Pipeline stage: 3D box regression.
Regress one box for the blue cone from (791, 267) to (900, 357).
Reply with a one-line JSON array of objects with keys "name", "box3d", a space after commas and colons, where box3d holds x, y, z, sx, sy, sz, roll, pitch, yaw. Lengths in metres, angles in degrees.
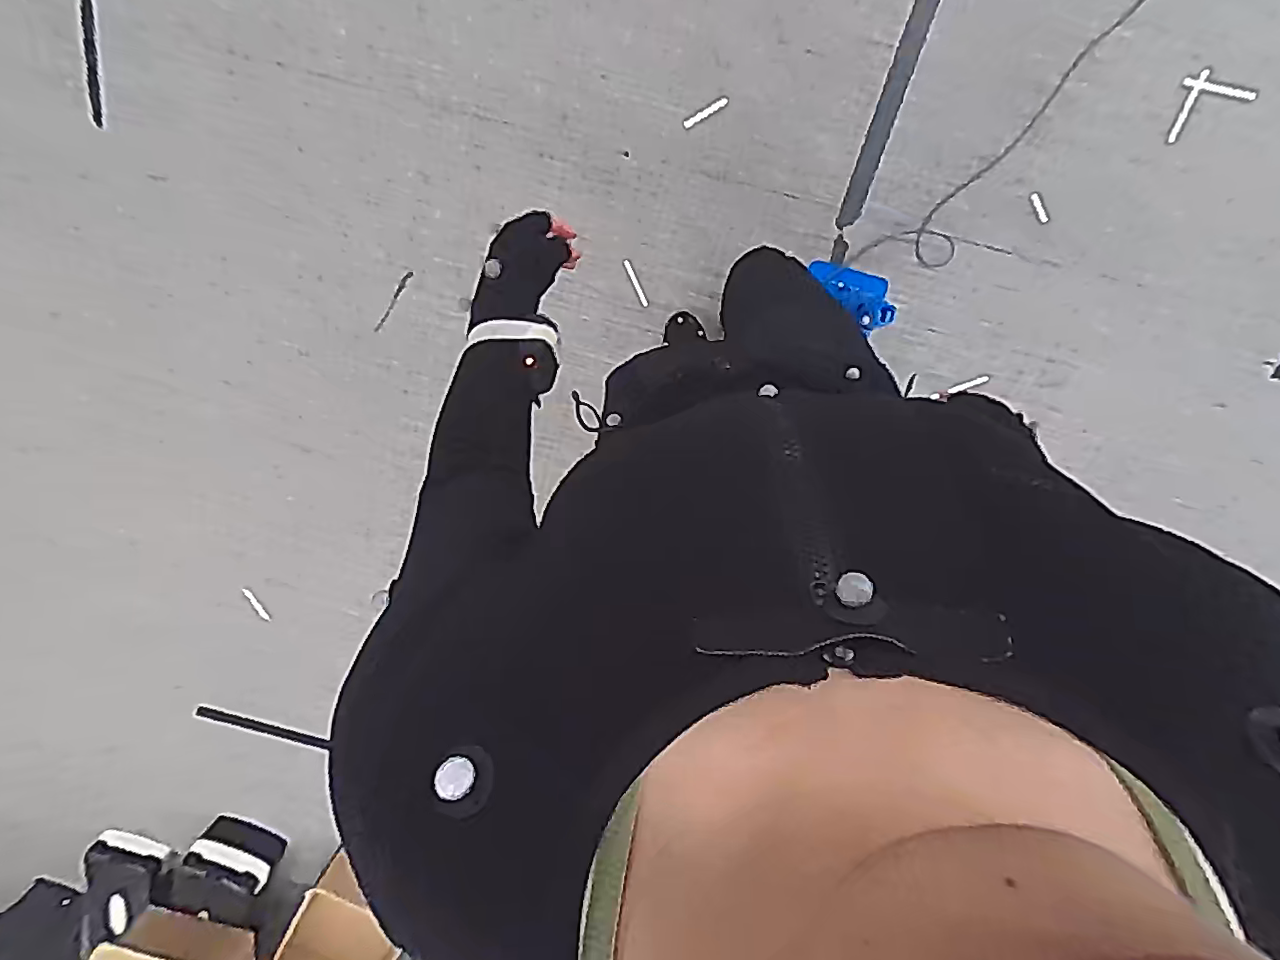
[{"name": "blue cone", "box3d": [0.470, -0.356, 1.159, 0.193, 0.380, 0.192, 14, 109, -1]}]
